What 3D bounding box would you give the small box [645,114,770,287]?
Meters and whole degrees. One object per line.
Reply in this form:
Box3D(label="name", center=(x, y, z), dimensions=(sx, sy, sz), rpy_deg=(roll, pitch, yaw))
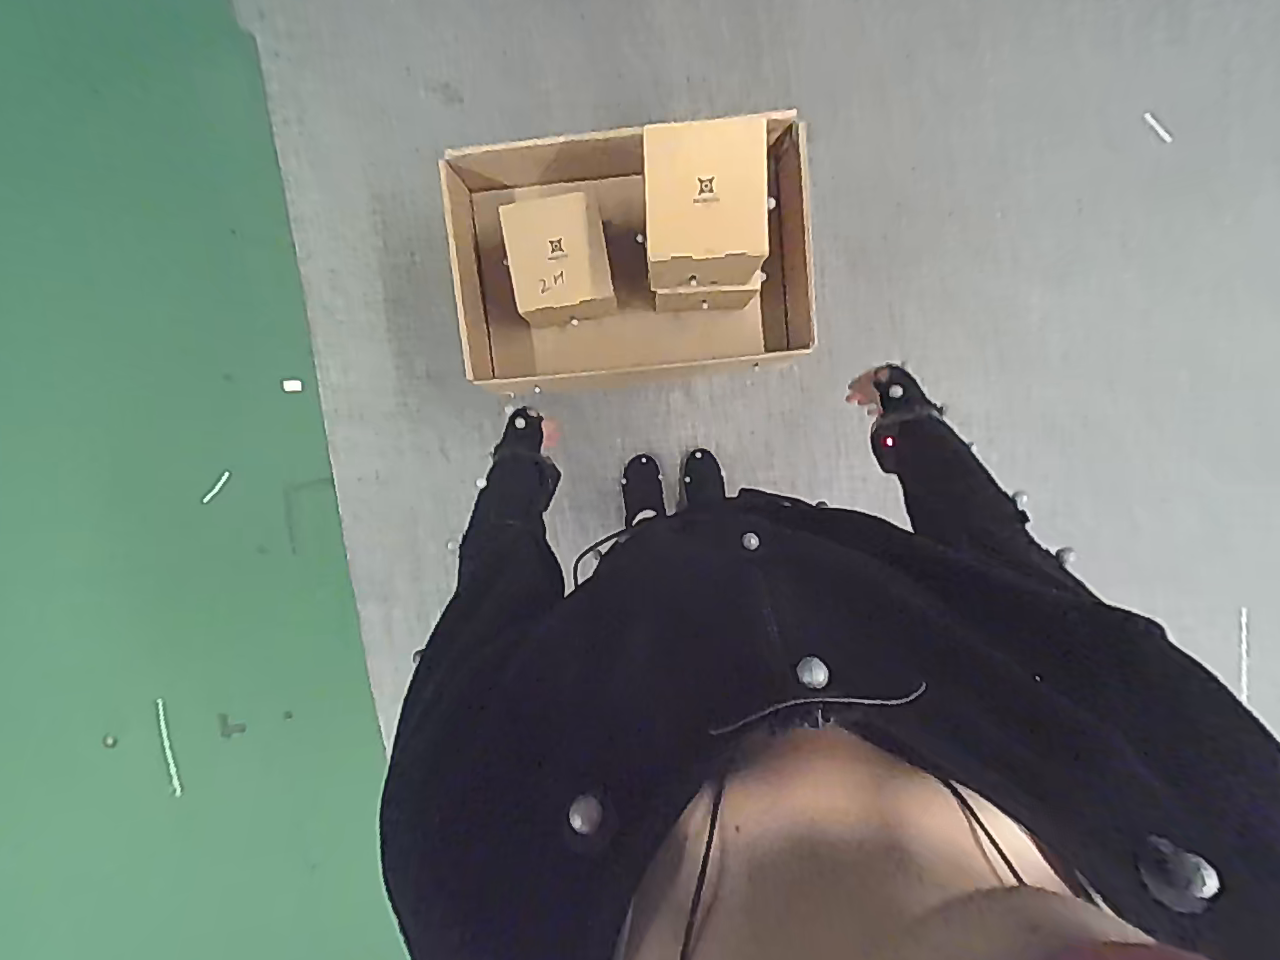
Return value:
Box3D(label="small box", center=(0.091, -0.399, 0.797), dimensions=(0.168, 0.176, 0.179), rpy_deg=(-2, 96, 2))
